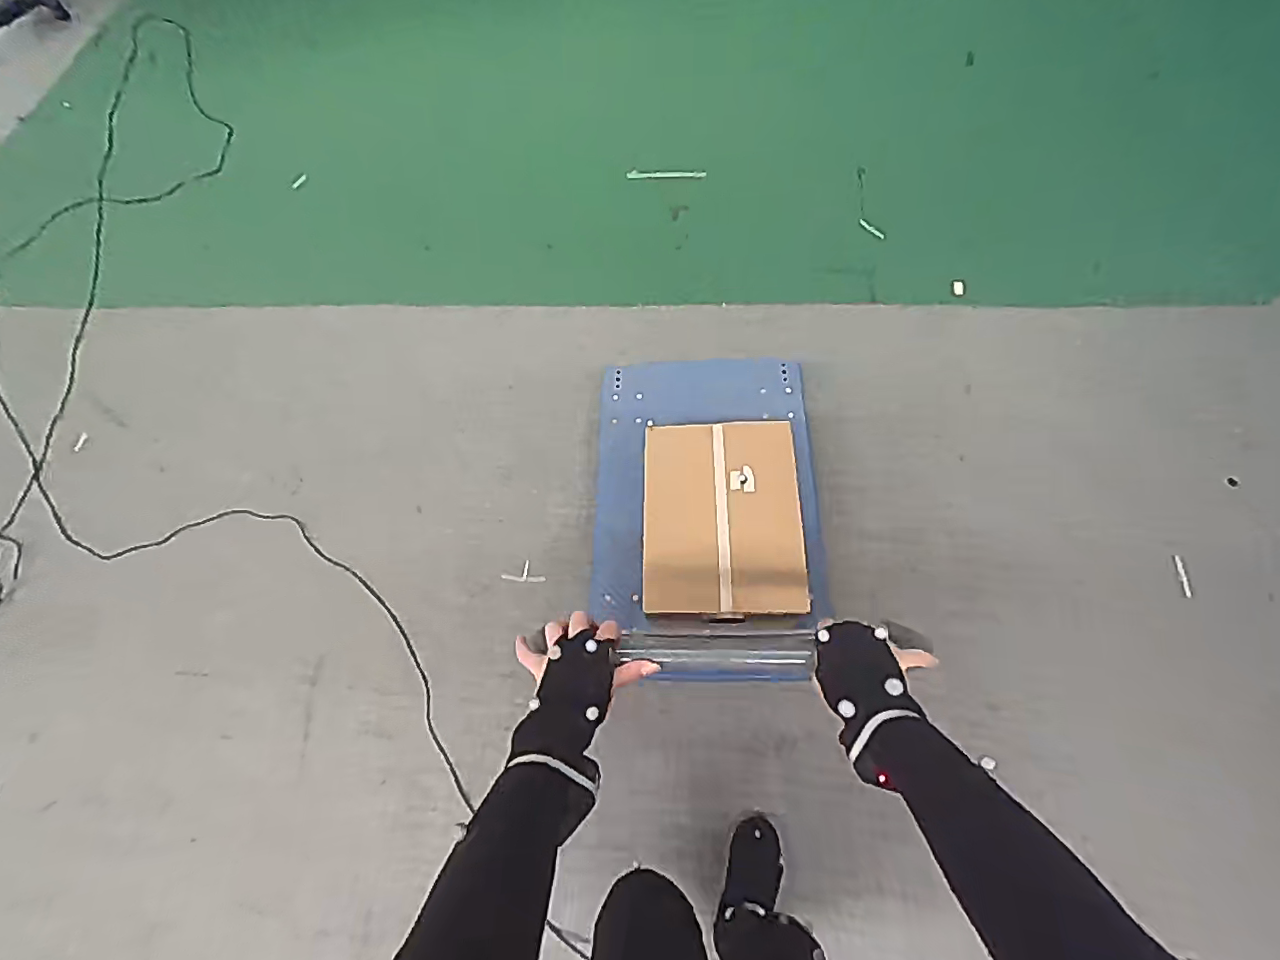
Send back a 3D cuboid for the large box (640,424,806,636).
[{"bbox_3d":[0.172,0.127,1.234,0.320,0.320,0.408,-2,65,5],"label":"large box"}]
